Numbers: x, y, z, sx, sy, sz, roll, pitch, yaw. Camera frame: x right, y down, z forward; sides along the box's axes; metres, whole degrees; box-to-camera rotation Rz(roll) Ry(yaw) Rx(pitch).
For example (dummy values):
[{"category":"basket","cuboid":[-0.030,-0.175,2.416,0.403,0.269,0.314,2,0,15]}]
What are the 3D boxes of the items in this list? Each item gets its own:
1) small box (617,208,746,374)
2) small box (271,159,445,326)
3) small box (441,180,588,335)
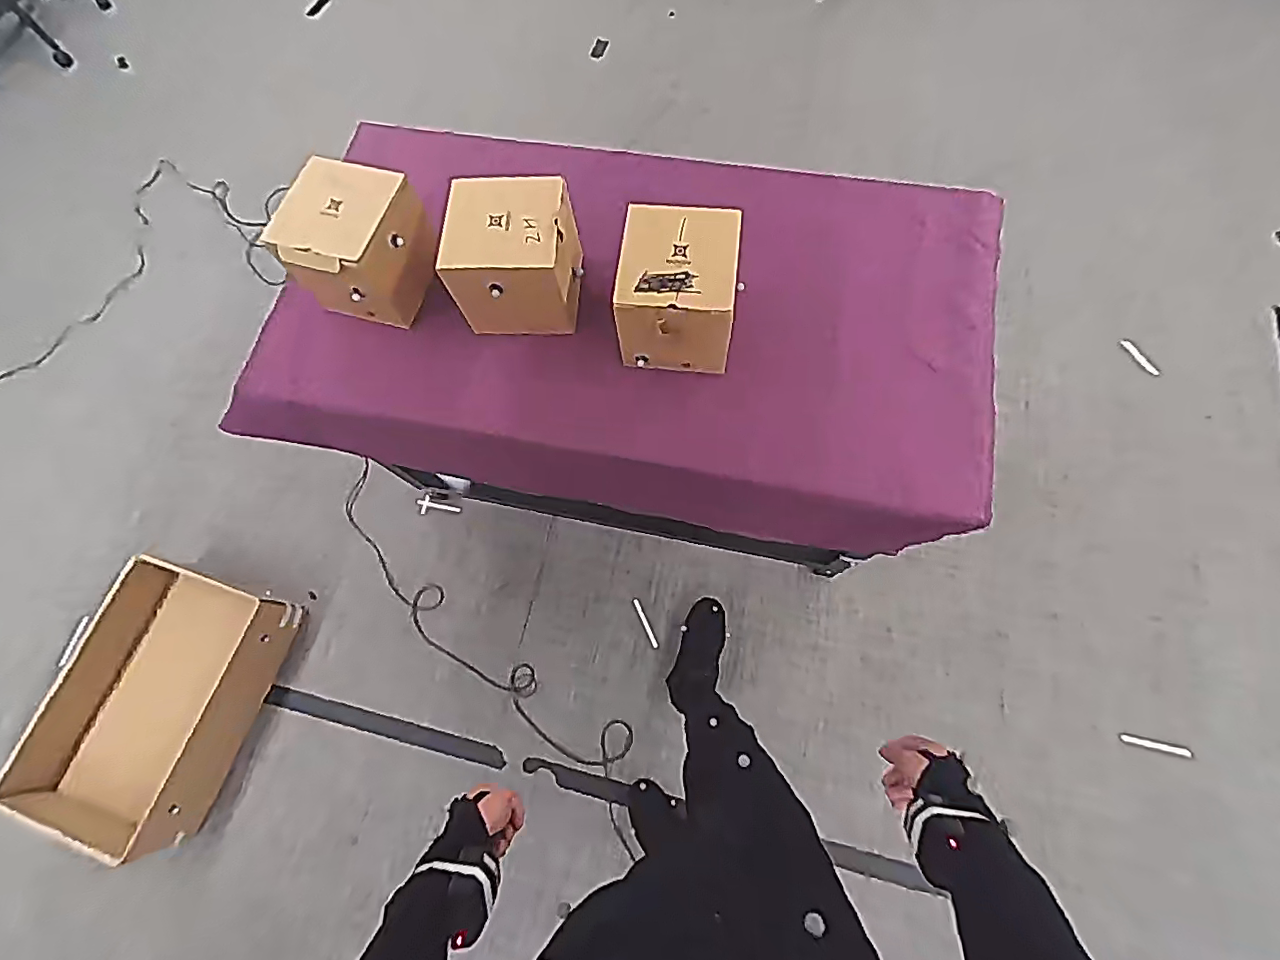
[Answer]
[{"category":"small box","cuboid":[0.065,-0.281,0.827,0.168,0.176,0.179,6,71,6]},{"category":"small box","cuboid":[-0.446,-0.383,0.894,0.168,0.176,0.179,16,73,8]},{"category":"small box","cuboid":[-0.189,-0.347,0.864,0.179,0.176,0.168,2,72,4]}]
